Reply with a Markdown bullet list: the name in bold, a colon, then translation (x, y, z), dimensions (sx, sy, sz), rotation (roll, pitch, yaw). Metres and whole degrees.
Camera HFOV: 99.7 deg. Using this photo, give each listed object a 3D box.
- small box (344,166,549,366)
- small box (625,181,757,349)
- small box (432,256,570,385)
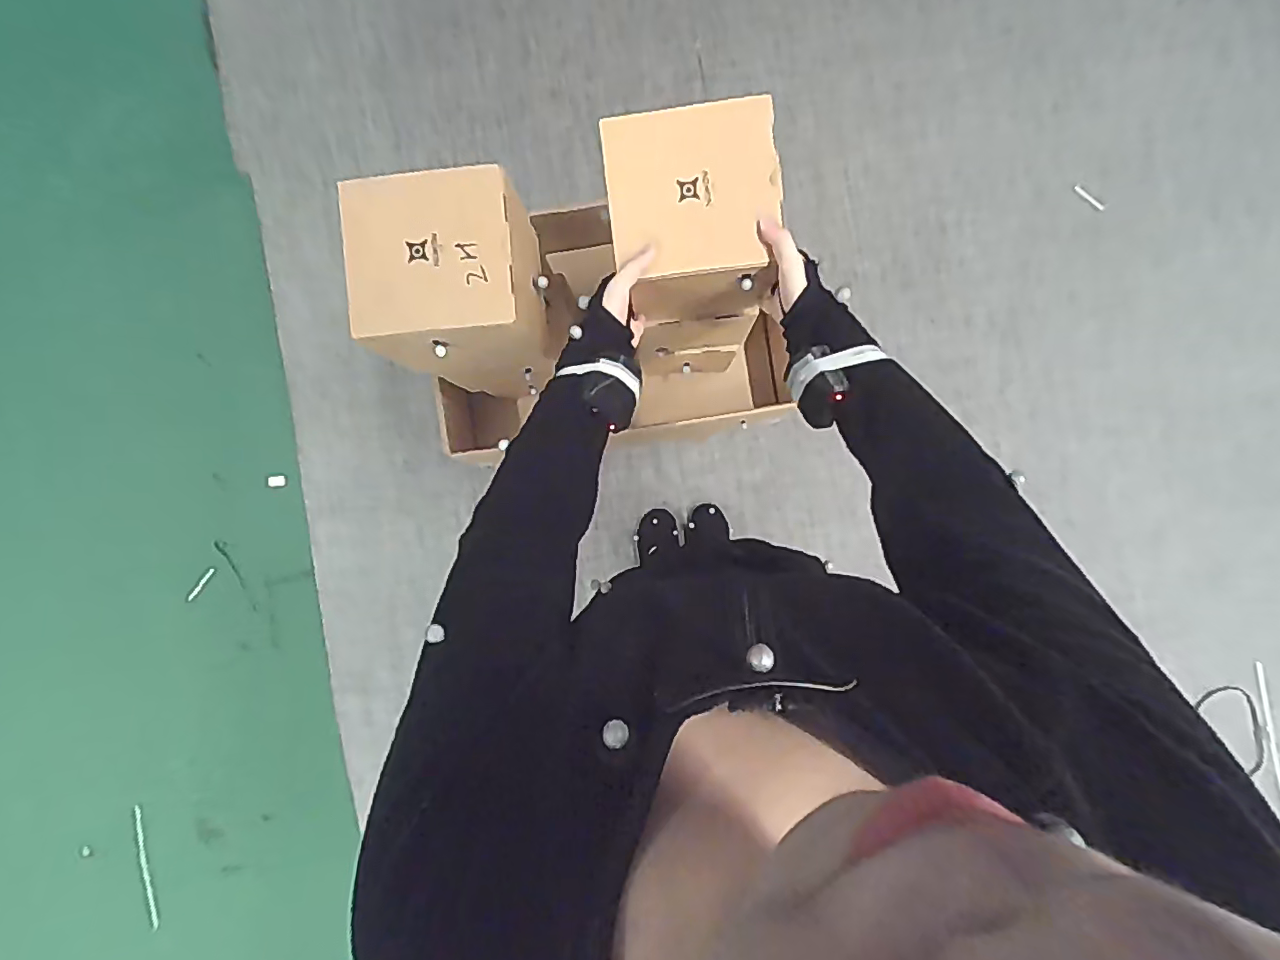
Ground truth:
- **small box**: translation (-0.216, -0.237, 0.641), dimensions (0.179, 0.176, 0.168), rotation (-4, 90, 3)
- **small box**: translation (0.073, -0.297, 0.788), dimensions (0.168, 0.176, 0.179), rotation (-5, 89, 4)
- **small box**: translation (-0.207, -0.244, 0.806), dimensions (0.168, 0.176, 0.179), rotation (-7, 89, 3)
